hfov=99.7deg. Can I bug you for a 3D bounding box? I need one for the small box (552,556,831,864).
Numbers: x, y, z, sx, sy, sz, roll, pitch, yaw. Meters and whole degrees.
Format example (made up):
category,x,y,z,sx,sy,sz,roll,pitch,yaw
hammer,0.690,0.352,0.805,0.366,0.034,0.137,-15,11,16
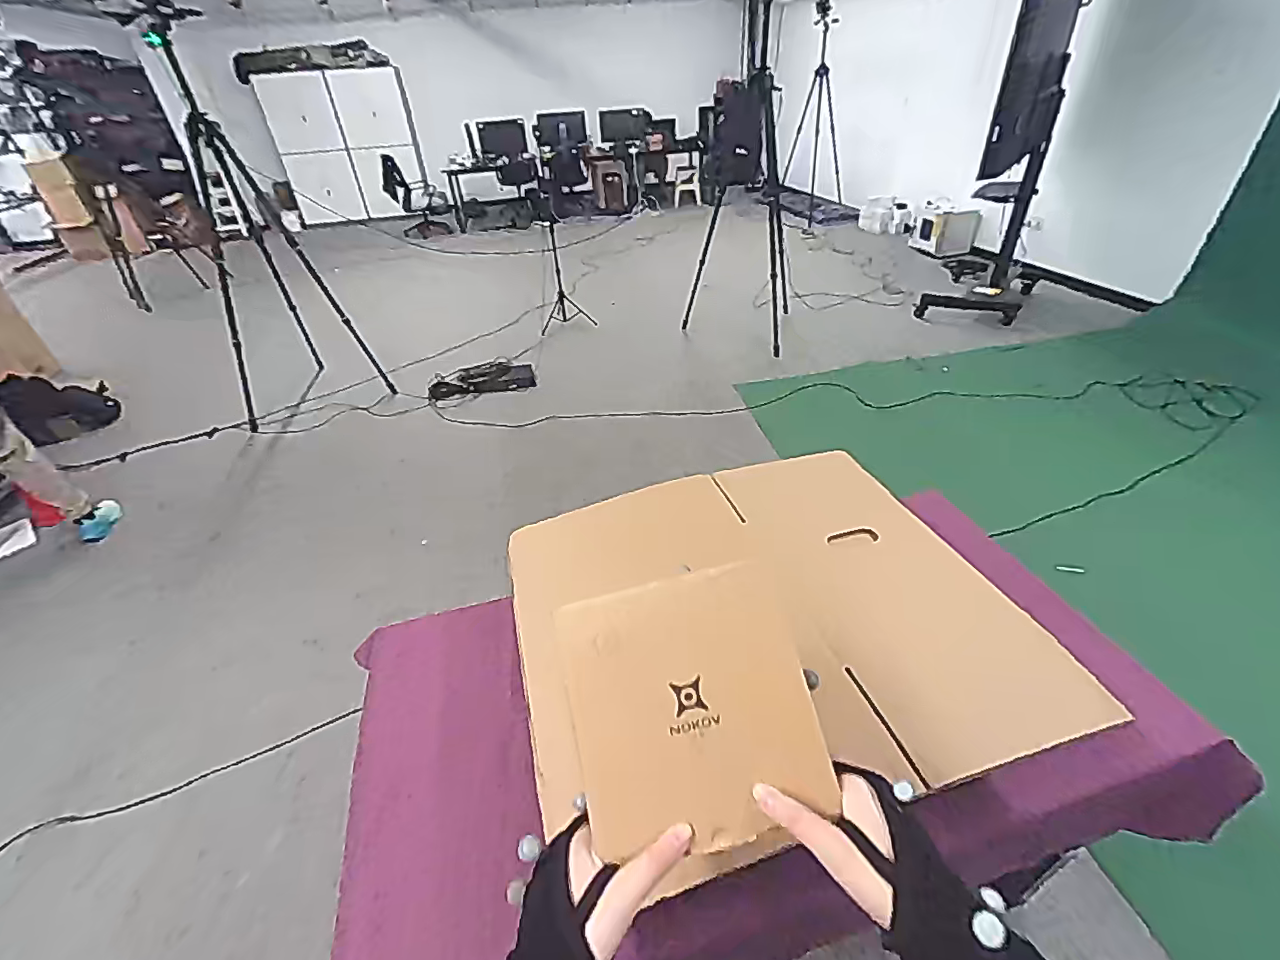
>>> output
category,x,y,z,sx,sy,sz,roll,pitch,yaw
small box,0.033,0.178,0.459,0.168,0.176,0.179,-14,74,-2
